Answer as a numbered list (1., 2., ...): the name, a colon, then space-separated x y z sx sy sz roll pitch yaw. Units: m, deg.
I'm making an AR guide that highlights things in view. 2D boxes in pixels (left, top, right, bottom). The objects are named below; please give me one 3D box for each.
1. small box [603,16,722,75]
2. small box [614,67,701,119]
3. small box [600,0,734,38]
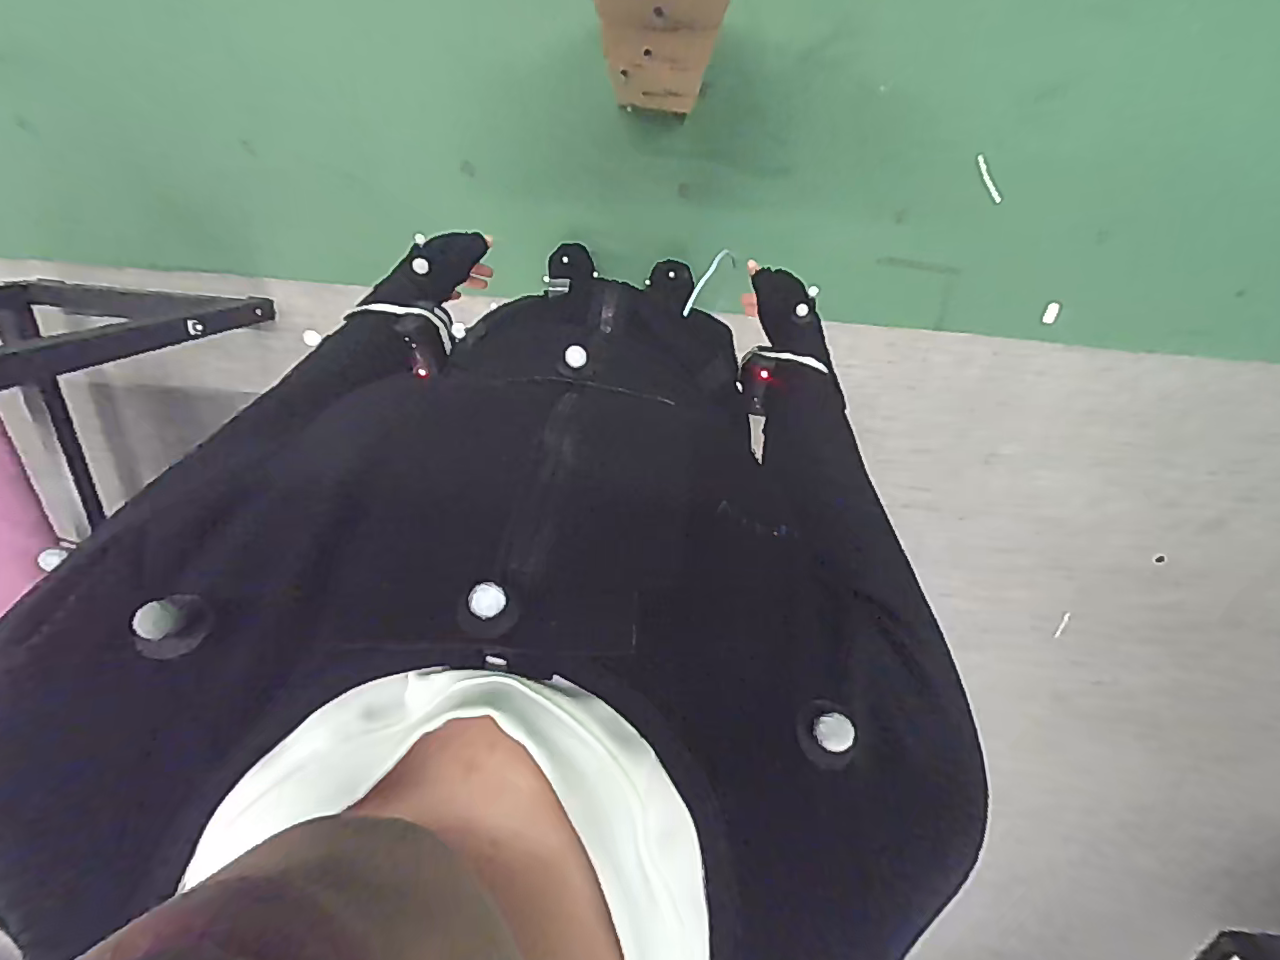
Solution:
1. small box: 0.034 -0.717 0.778 0.168 0.176 0.179 2 114 -1
2. small box: 0.042 -0.844 1.080 0.168 0.176 0.179 5 114 -2
3. small box: 0.032 -0.653 0.626 0.168 0.176 0.179 2 114 0
